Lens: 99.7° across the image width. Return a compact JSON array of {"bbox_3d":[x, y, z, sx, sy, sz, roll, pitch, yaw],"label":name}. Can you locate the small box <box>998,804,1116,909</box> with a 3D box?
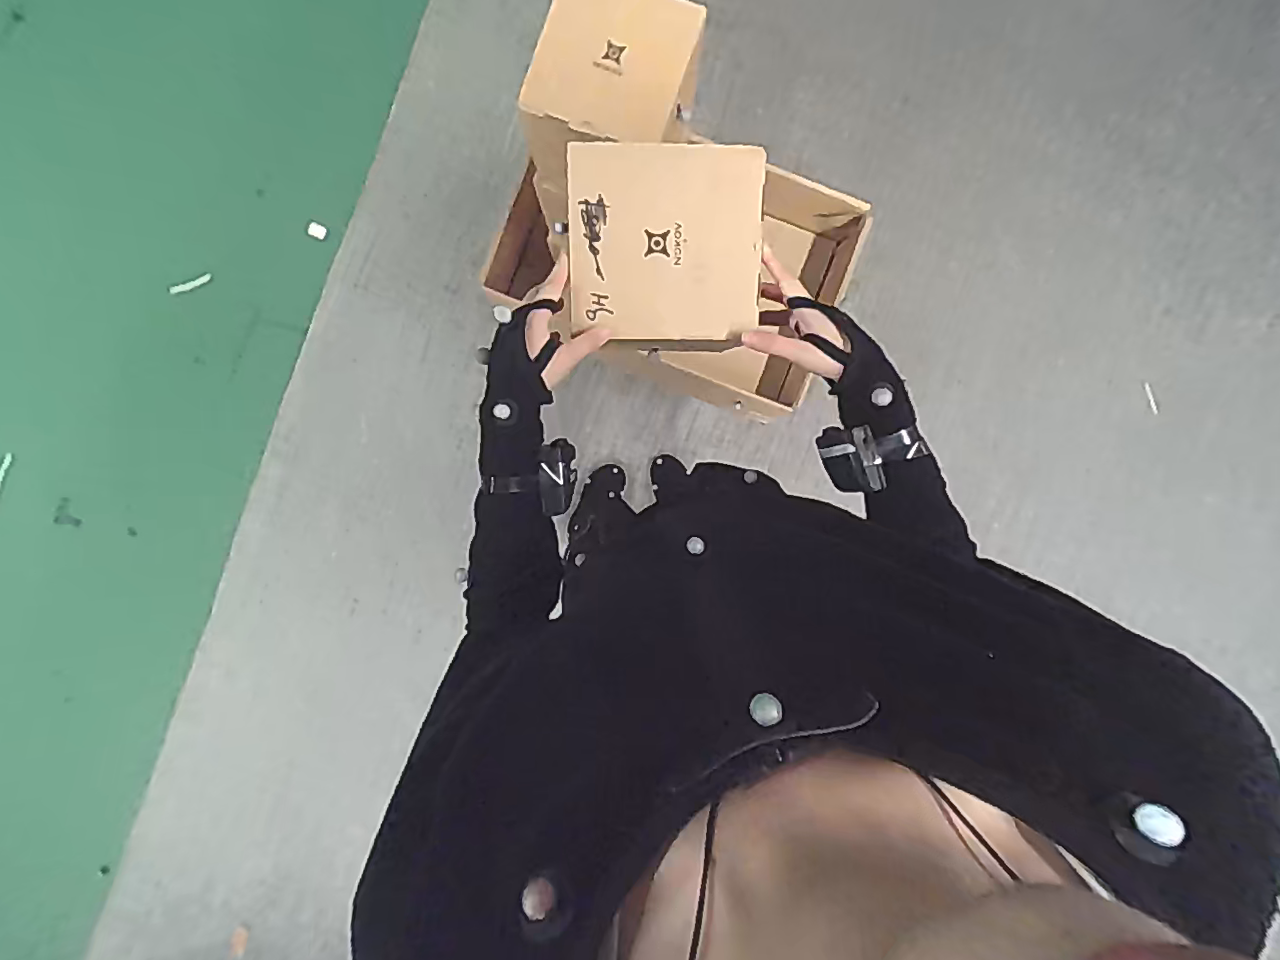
[{"bbox_3d":[1.102,1.009,1.439,0.168,0.176,0.179,19,90,0],"label":"small box"}]

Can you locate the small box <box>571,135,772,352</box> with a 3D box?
[{"bbox_3d":[0.021,-0.223,0.554,0.179,0.176,0.168,1,99,-3],"label":"small box"}]

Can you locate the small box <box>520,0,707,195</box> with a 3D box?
[{"bbox_3d":[-0.031,-0.468,0.678,0.168,0.176,0.179,19,91,-1],"label":"small box"}]
